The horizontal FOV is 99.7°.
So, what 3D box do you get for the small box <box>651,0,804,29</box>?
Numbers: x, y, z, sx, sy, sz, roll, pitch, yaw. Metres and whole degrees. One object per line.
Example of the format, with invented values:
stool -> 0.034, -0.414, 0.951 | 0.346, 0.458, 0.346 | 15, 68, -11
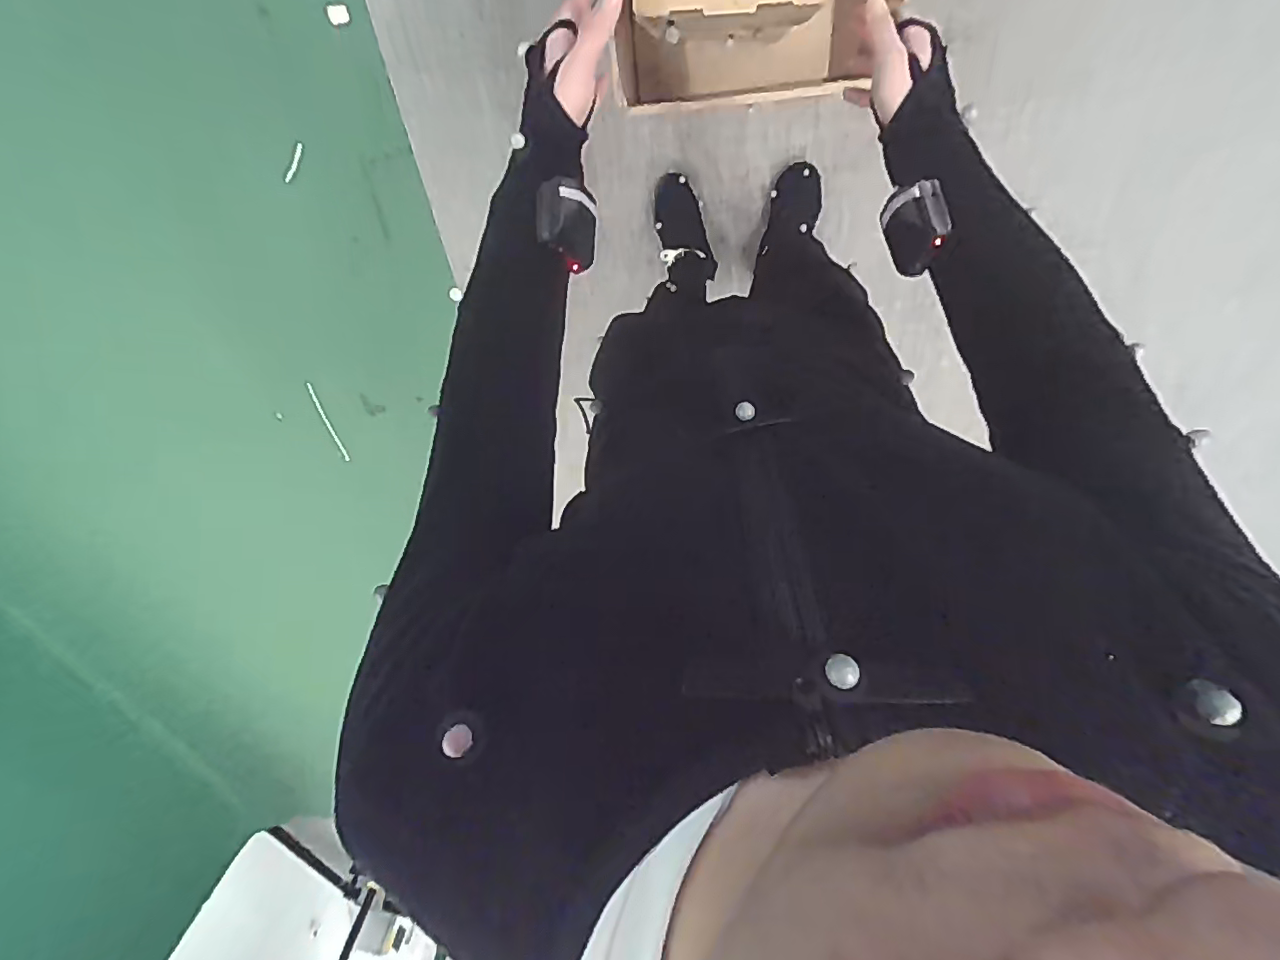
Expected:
small box -> 0.103, -0.616, 0.595 | 0.168, 0.176, 0.179 | 3, 124, 6
